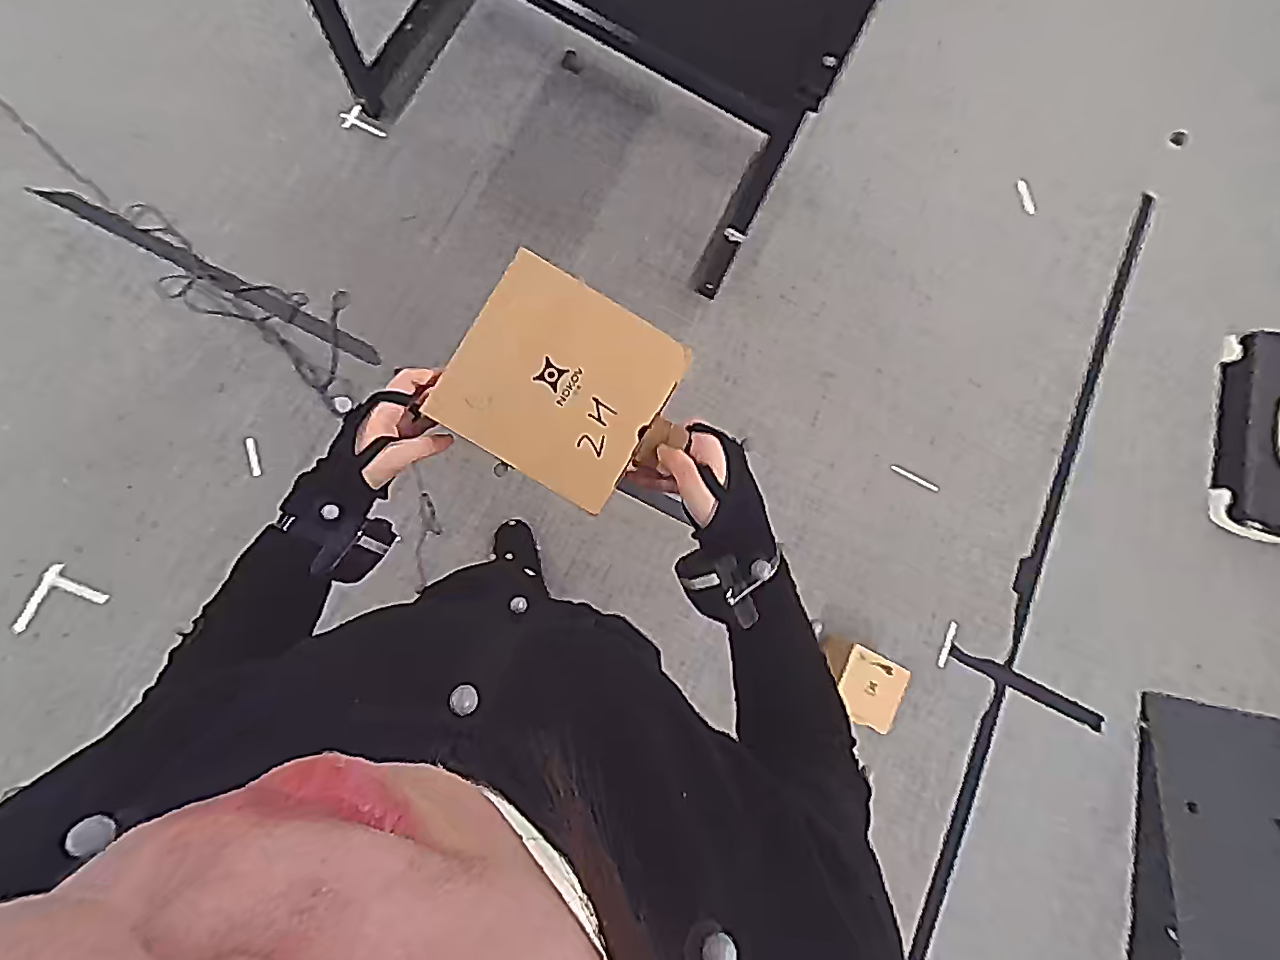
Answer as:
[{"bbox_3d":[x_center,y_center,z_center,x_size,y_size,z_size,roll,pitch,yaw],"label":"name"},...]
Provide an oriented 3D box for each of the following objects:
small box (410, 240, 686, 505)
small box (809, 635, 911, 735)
[{"bbox_3d":[-0.080,-0.087,0.527,0.179,0.176,0.168,30,87,-3],"label":"small box"},{"bbox_3d":[0.577,0.539,1.446,0.168,0.176,0.179,29,81,-2],"label":"small box"}]
